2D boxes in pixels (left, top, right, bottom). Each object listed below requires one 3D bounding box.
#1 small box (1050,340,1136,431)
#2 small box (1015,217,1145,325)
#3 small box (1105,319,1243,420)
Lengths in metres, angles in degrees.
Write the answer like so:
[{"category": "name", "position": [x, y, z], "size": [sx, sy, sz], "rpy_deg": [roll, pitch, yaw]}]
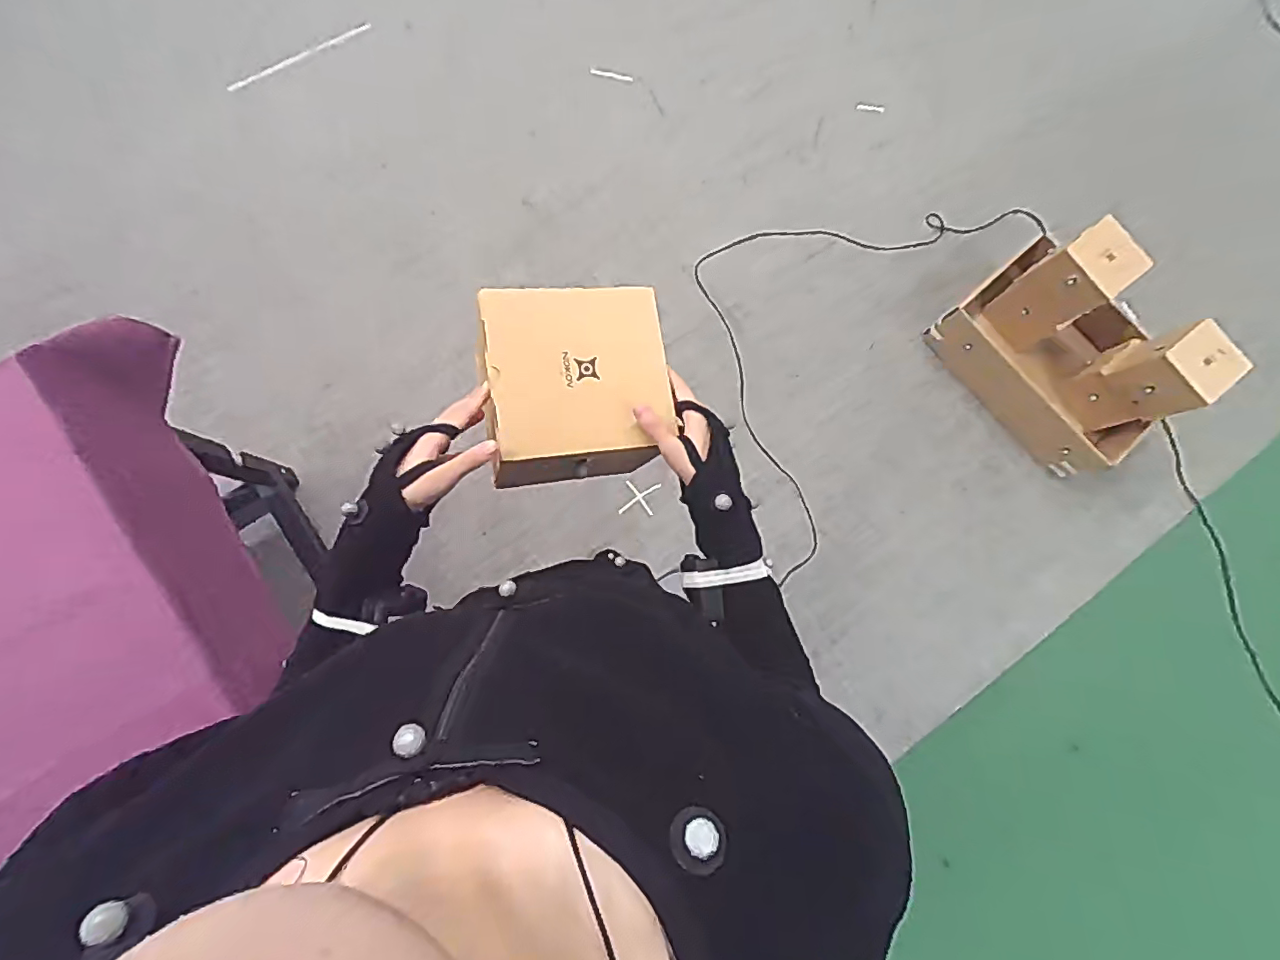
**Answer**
[{"category": "small box", "position": [1.371, -0.270, 1.591], "size": [0.168, 0.176, 0.179], "rpy_deg": [-37, 85, -9]}, {"category": "small box", "position": [1.169, -0.552, 1.453], "size": [0.168, 0.176, 0.179], "rpy_deg": [-37, 86, -7]}, {"category": "small box", "position": [1.391, -0.283, 1.427], "size": [0.179, 0.176, 0.168], "rpy_deg": [-37, 87, -9]}]
